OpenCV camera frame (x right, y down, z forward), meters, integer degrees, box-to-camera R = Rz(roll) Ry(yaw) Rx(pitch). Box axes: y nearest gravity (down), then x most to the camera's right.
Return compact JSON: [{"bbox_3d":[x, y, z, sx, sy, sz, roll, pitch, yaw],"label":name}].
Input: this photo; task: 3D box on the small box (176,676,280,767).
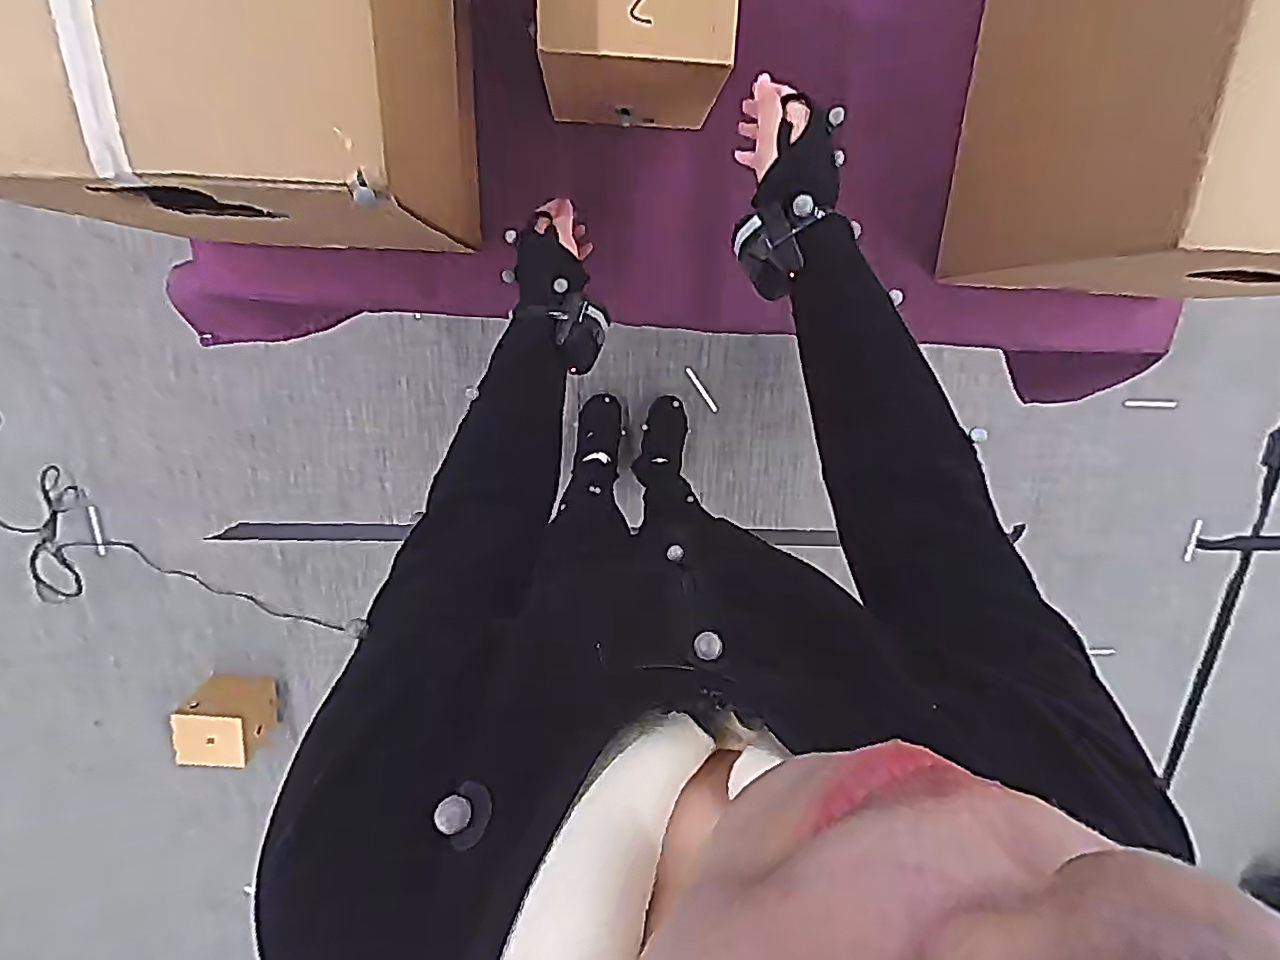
[{"bbox_3d":[-1.141,0.672,1.517,0.179,0.176,0.168,6,107,-5],"label":"small box"}]
